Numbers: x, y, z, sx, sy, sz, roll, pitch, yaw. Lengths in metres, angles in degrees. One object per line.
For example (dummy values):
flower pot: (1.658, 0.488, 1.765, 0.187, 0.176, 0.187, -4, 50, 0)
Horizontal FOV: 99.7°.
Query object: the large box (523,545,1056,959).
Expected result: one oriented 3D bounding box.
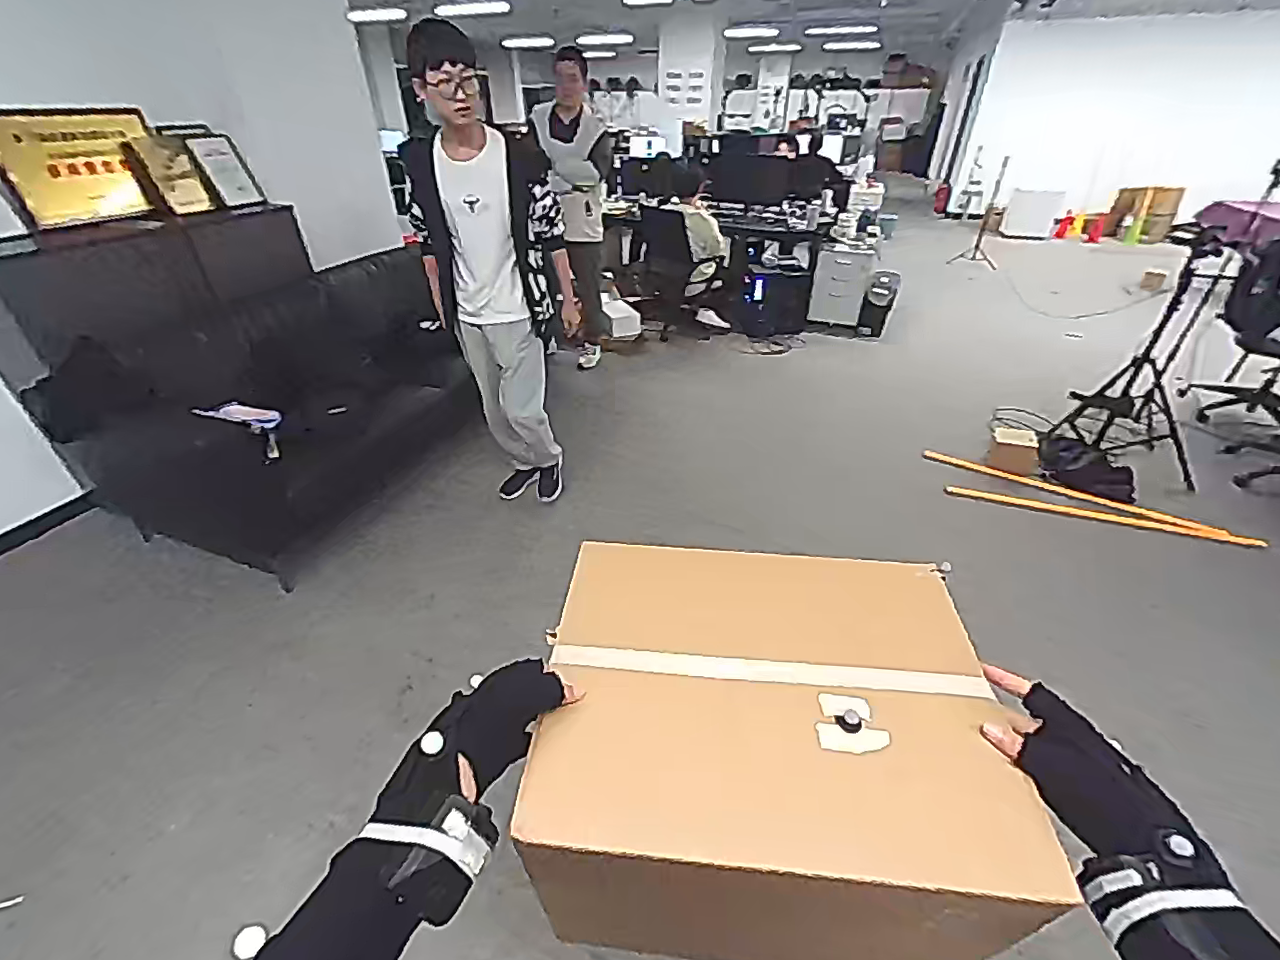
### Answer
large box: (0.114, 0.297, 0.607, 0.408, 0.320, 0.320, 4, 39, 4)
